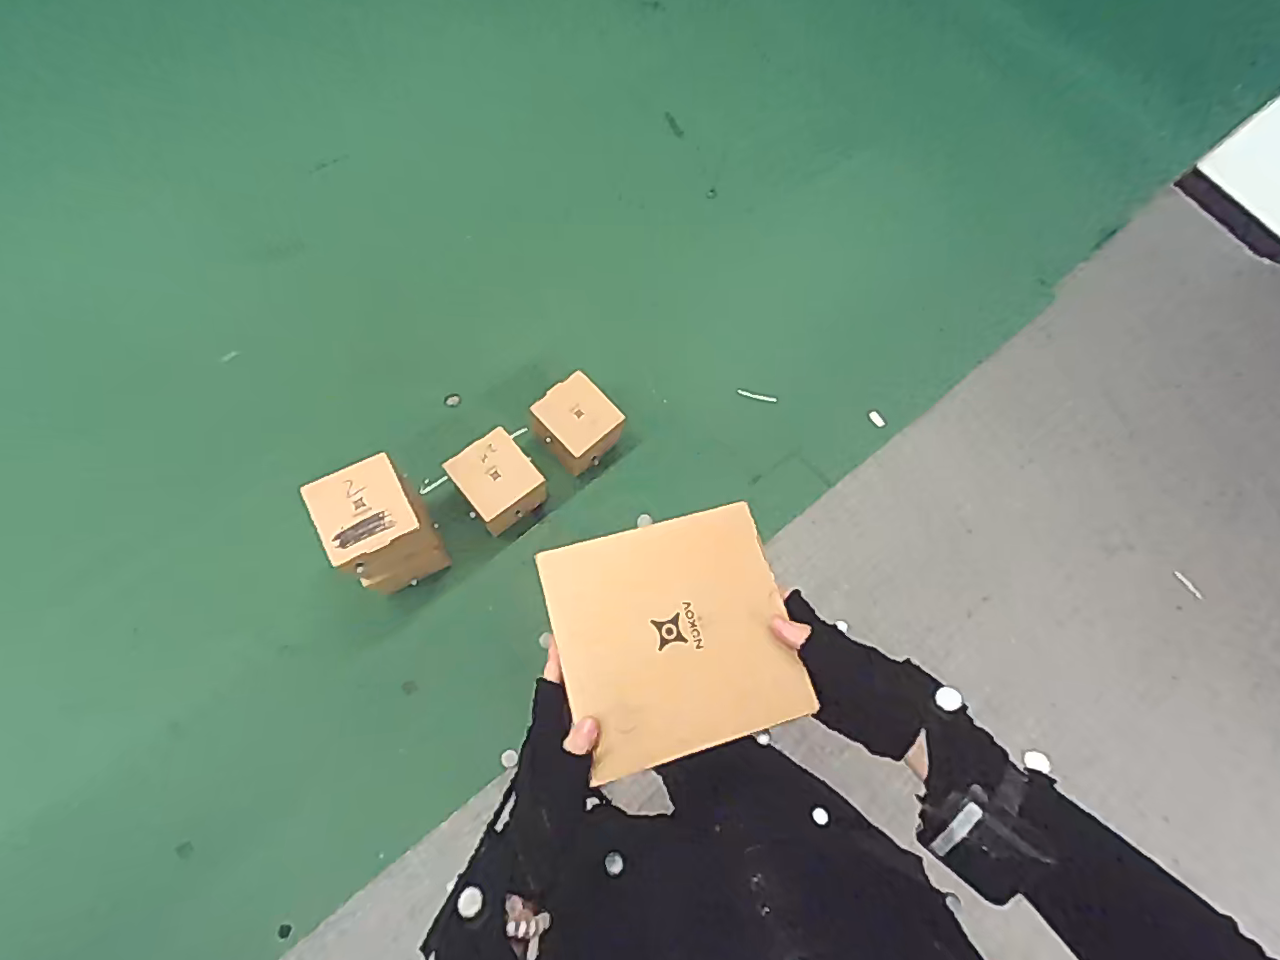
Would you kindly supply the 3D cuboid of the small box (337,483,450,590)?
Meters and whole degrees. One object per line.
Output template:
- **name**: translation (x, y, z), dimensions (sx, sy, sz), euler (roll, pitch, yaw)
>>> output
- **small box**: translation (-0.555, 0.135, 1.238), dimensions (0.168, 0.176, 0.179), euler (-24, 78, -15)

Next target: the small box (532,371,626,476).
- **small box**: translation (-0.160, -0.139, 1.392), dimensions (0.168, 0.176, 0.179), euler (-41, 82, -18)

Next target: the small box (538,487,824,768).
- **small box**: translation (0.020, 0.126, 0.466), dimensions (0.179, 0.176, 0.168), euler (-14, 72, -12)

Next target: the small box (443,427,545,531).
- **small box**: translation (-0.344, 0.007, 1.313), dimensions (0.168, 0.176, 0.179), euler (-37, 80, -18)
